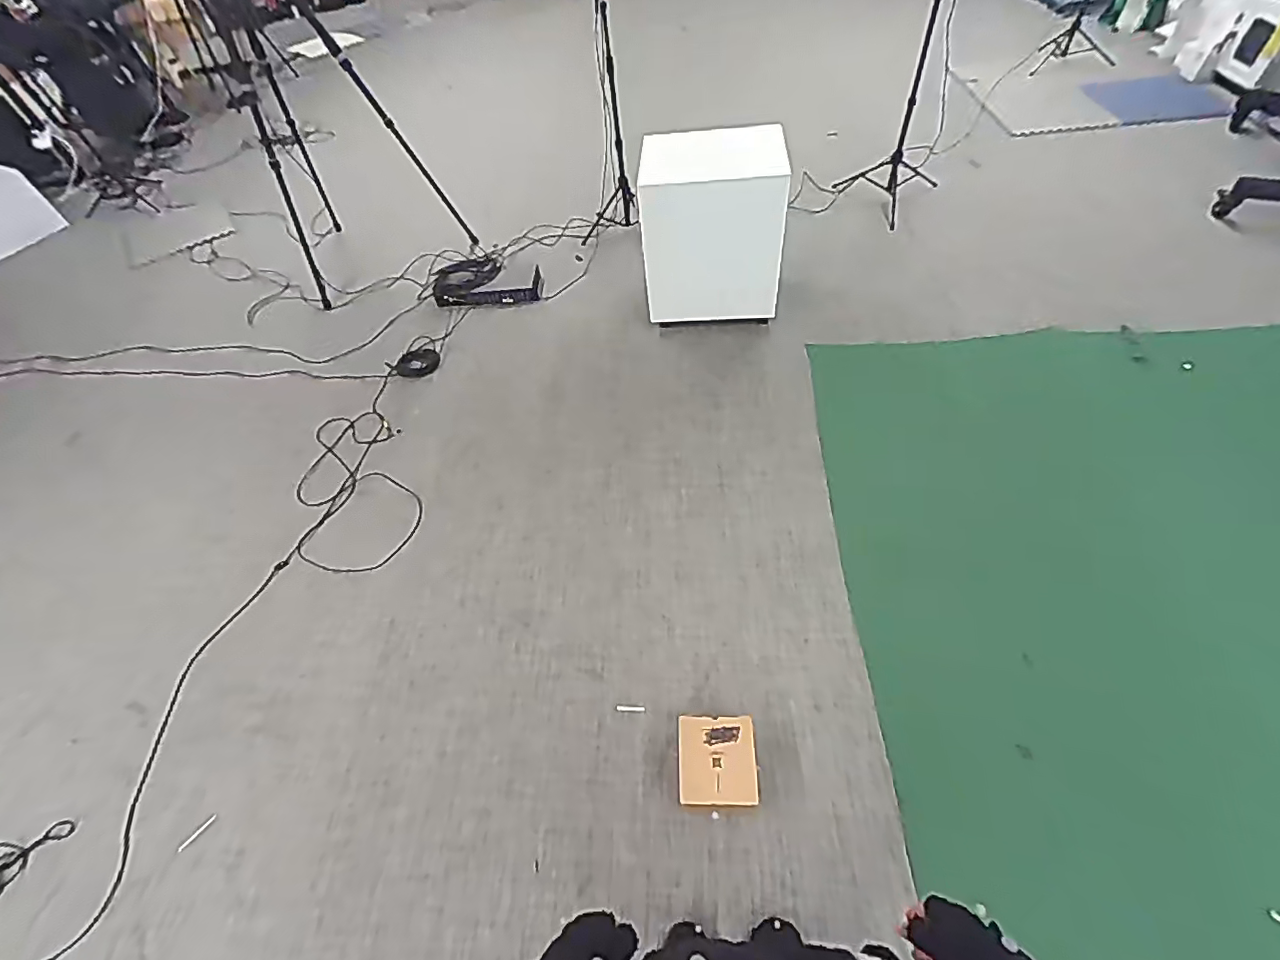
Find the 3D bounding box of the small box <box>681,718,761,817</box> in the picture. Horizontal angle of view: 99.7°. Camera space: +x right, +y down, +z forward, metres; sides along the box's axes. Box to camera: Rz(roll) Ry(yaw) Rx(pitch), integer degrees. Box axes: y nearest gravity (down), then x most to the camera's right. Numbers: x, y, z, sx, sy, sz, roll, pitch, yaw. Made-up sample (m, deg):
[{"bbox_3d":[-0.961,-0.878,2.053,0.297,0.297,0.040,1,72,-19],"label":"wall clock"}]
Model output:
[{"bbox_3d":[0.175,0.652,1.222,0.168,0.176,0.179,-2,54,5],"label":"small box"}]
